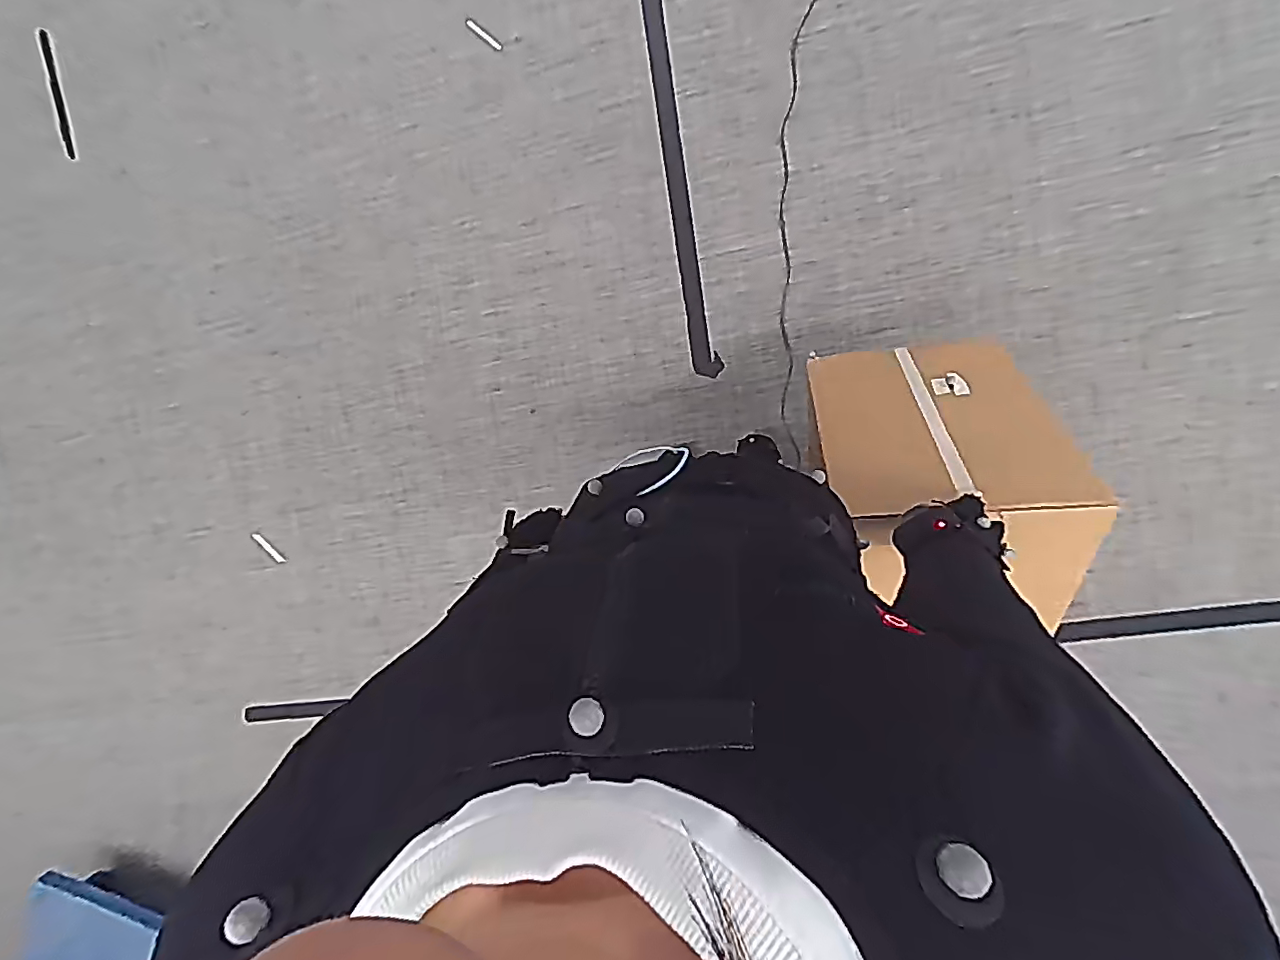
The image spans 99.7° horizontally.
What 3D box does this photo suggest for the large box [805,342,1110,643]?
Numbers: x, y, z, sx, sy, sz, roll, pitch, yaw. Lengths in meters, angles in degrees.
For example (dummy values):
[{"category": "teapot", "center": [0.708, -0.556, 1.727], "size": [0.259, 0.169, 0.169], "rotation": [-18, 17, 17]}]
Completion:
[{"category": "large box", "center": [0.462, 0.017, 0.910], "size": [0.320, 0.408, 0.320], "rotation": [-4, 131, 12]}]
